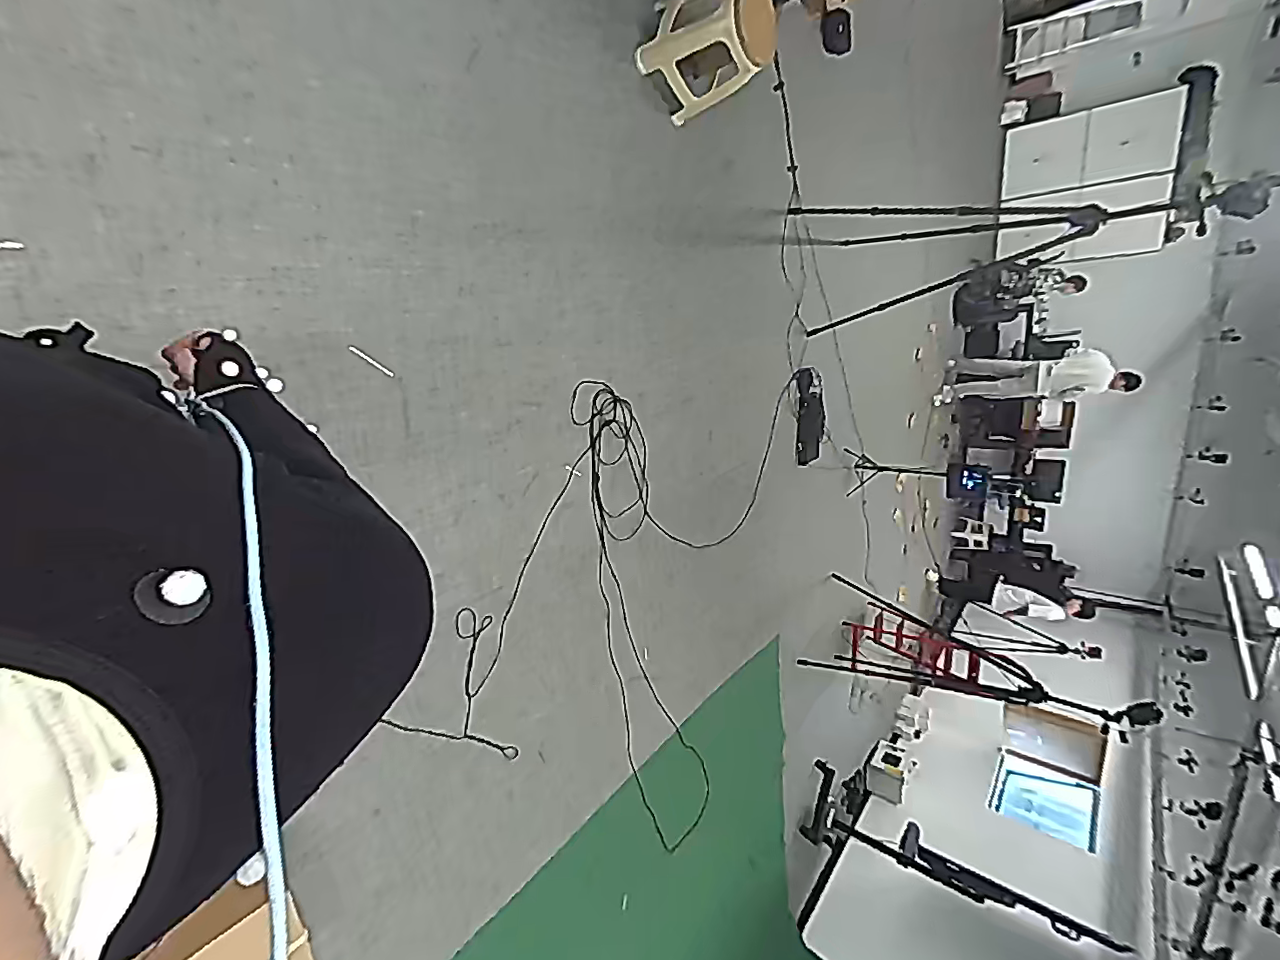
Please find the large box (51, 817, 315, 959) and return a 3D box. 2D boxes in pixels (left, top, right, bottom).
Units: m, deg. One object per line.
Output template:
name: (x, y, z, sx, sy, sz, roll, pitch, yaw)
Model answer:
large box: (-1.083, 1.141, 1.306, 0.408, 0.320, 0.320, -21, 112, -44)
